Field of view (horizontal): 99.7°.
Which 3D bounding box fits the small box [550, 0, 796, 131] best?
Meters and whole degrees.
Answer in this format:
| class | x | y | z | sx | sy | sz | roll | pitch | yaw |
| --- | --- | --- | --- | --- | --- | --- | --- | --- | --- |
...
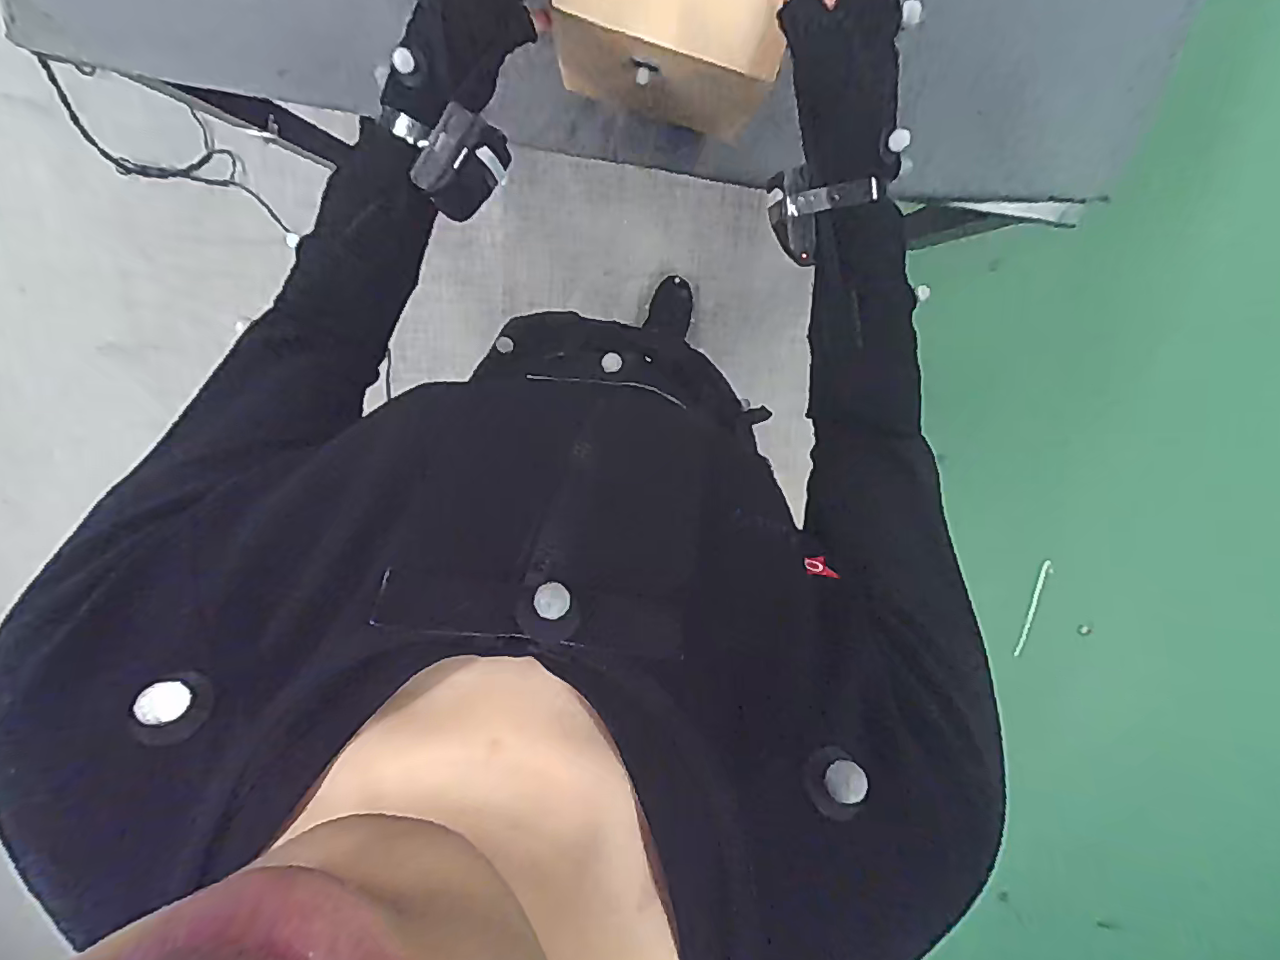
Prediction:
| class | x | y | z | sx | sy | sz | roll | pitch | yaw |
| --- | --- | --- | --- | --- | --- | --- | --- | --- | --- |
| small box | 0.033 | -0.420 | 0.449 | 0.179 | 0.176 | 0.168 | 12 | 108 | -8 |
